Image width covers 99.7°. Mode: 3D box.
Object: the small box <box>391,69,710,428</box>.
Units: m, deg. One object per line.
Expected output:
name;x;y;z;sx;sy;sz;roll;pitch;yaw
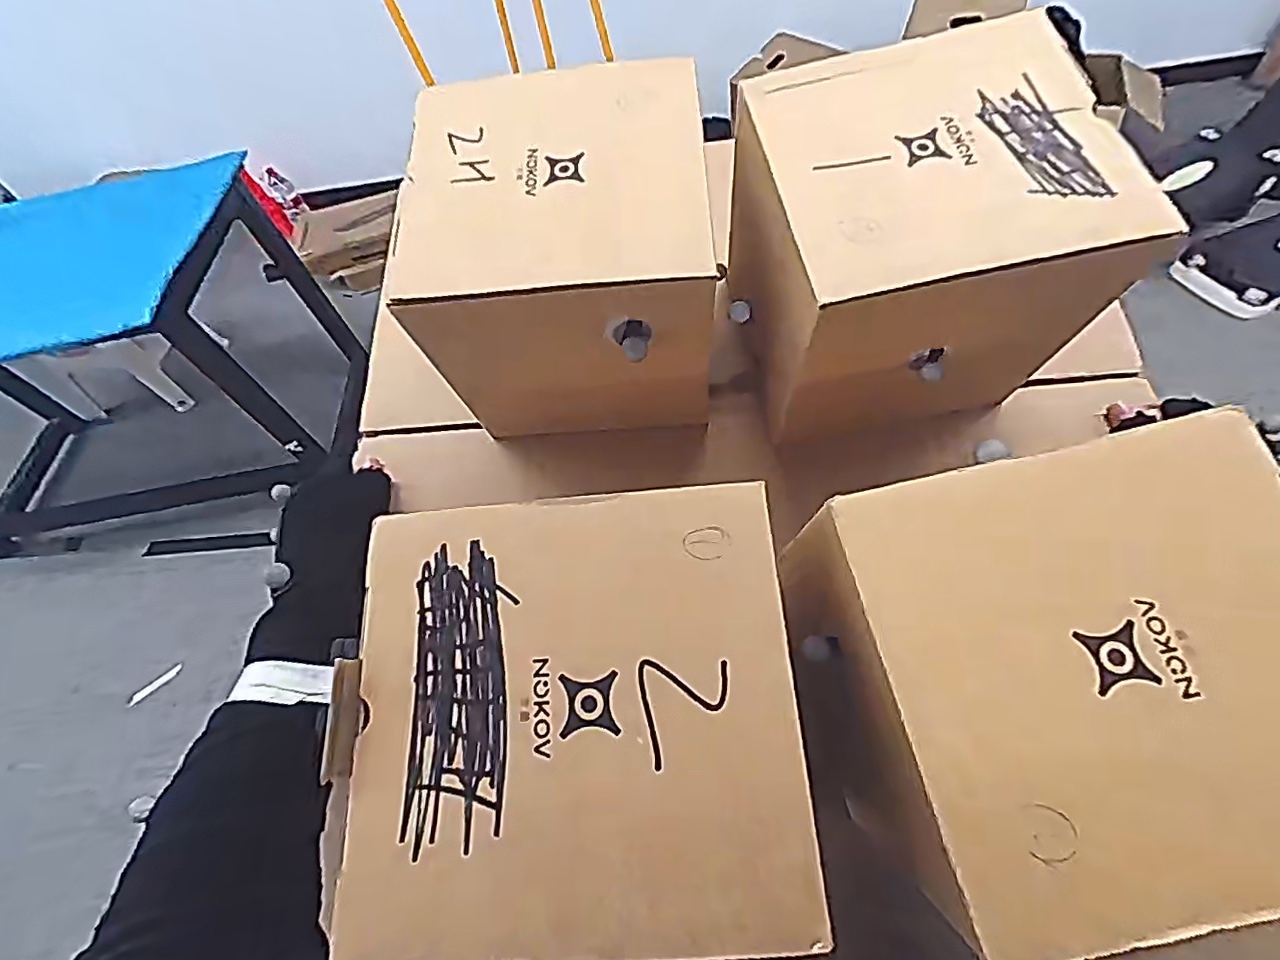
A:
small box;-0.044;-0.148;0.391;0.179;0.176;0.168;-3;69;5
